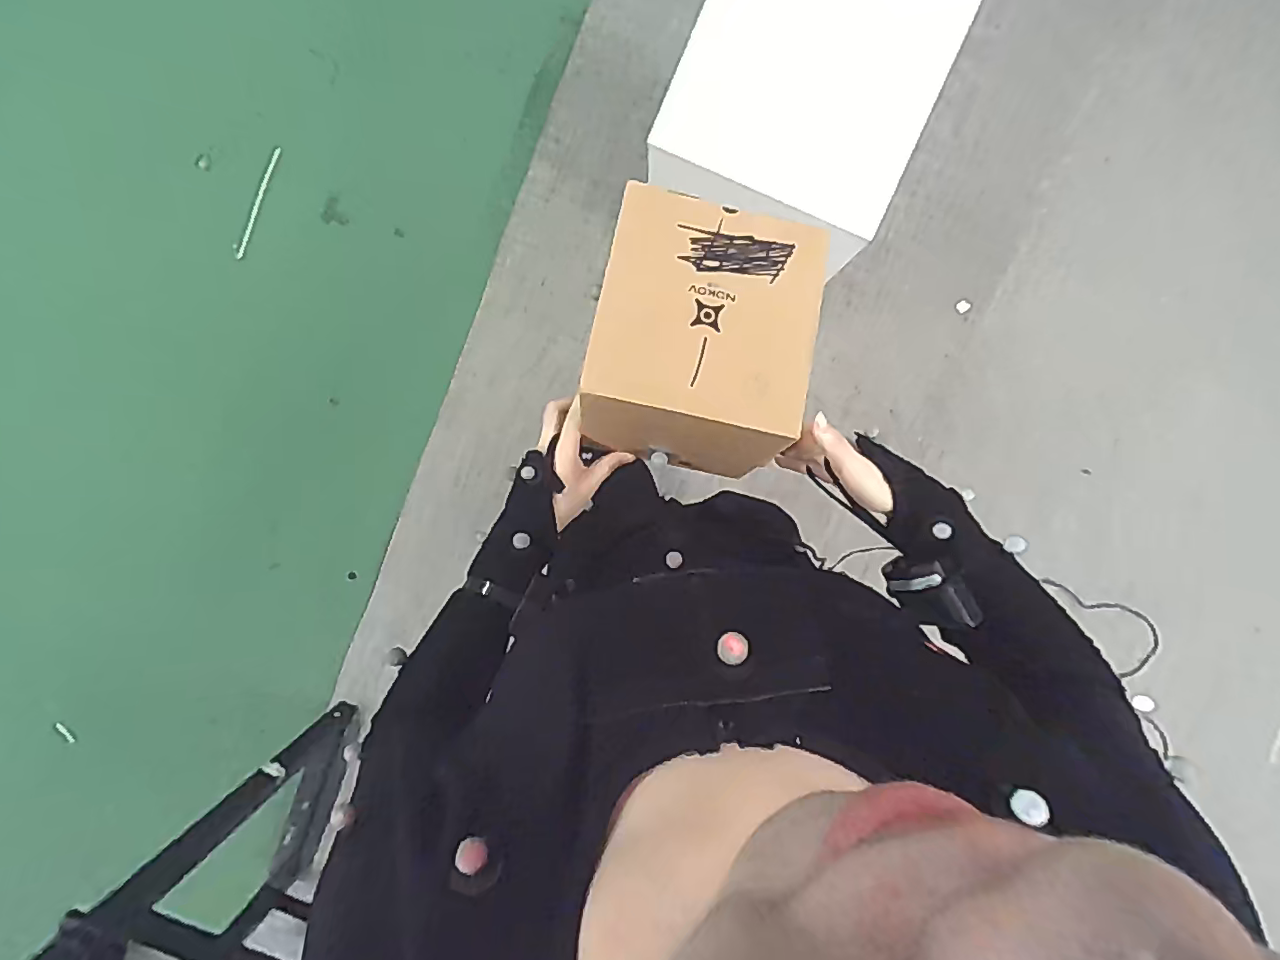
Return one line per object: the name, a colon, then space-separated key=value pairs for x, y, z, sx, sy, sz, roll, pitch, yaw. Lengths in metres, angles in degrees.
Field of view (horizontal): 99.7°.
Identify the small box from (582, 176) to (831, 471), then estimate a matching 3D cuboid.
small box: x=0.047 y=-0.121 z=0.483 sx=0.168 sy=0.176 sz=0.179 roll=13 pitch=80 yaw=-2
